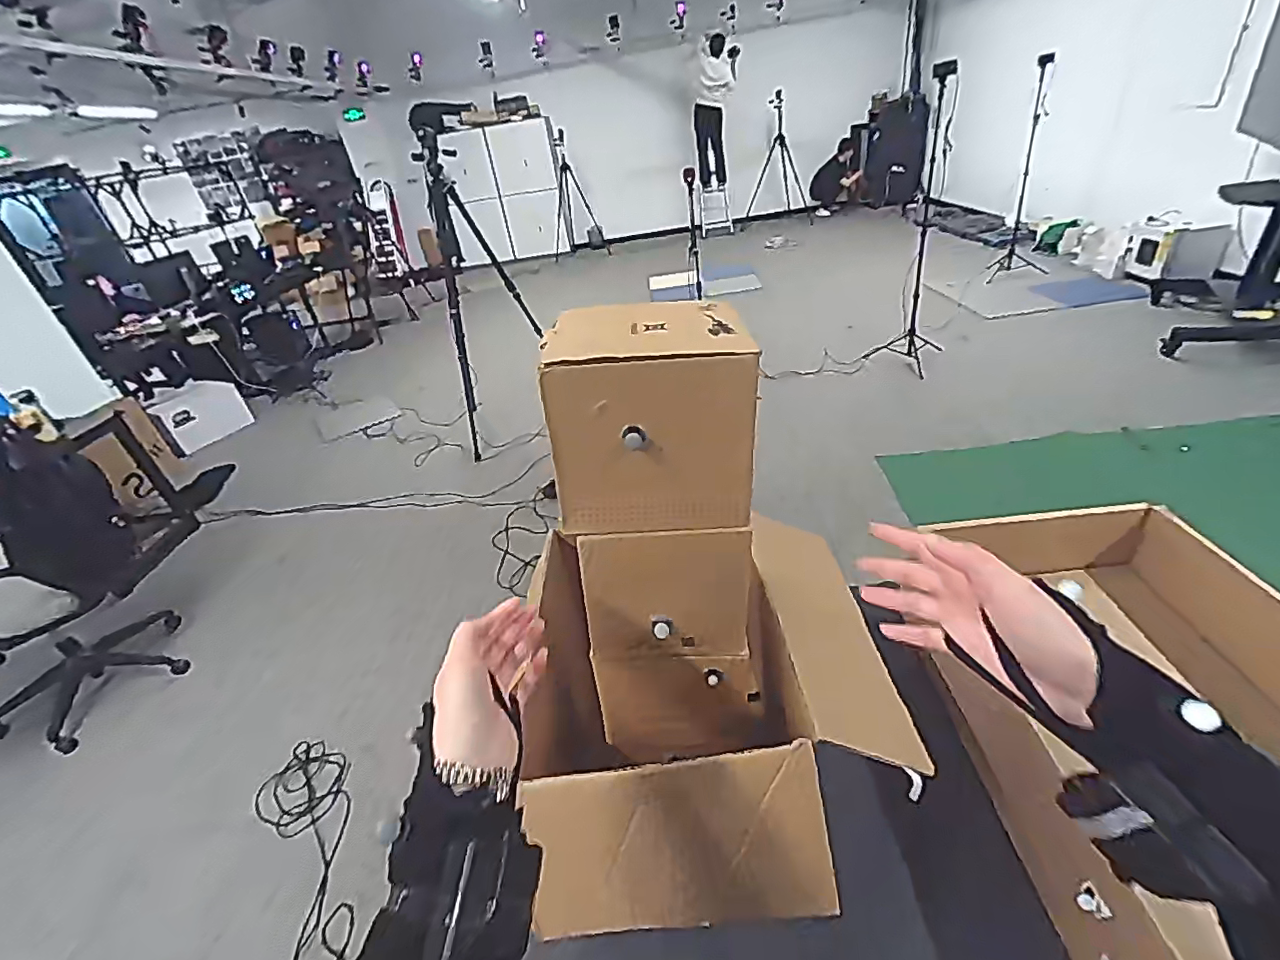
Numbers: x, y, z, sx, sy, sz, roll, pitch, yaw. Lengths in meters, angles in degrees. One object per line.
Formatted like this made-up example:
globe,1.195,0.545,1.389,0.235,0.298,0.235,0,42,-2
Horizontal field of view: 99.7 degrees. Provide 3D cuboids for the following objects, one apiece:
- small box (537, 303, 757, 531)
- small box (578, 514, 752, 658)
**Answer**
small box,0.011,-0.063,0.526,0.179,0.176,0.168,-4,32,1
small box,0.026,0.076,0.612,0.168,0.176,0.179,-3,32,1
